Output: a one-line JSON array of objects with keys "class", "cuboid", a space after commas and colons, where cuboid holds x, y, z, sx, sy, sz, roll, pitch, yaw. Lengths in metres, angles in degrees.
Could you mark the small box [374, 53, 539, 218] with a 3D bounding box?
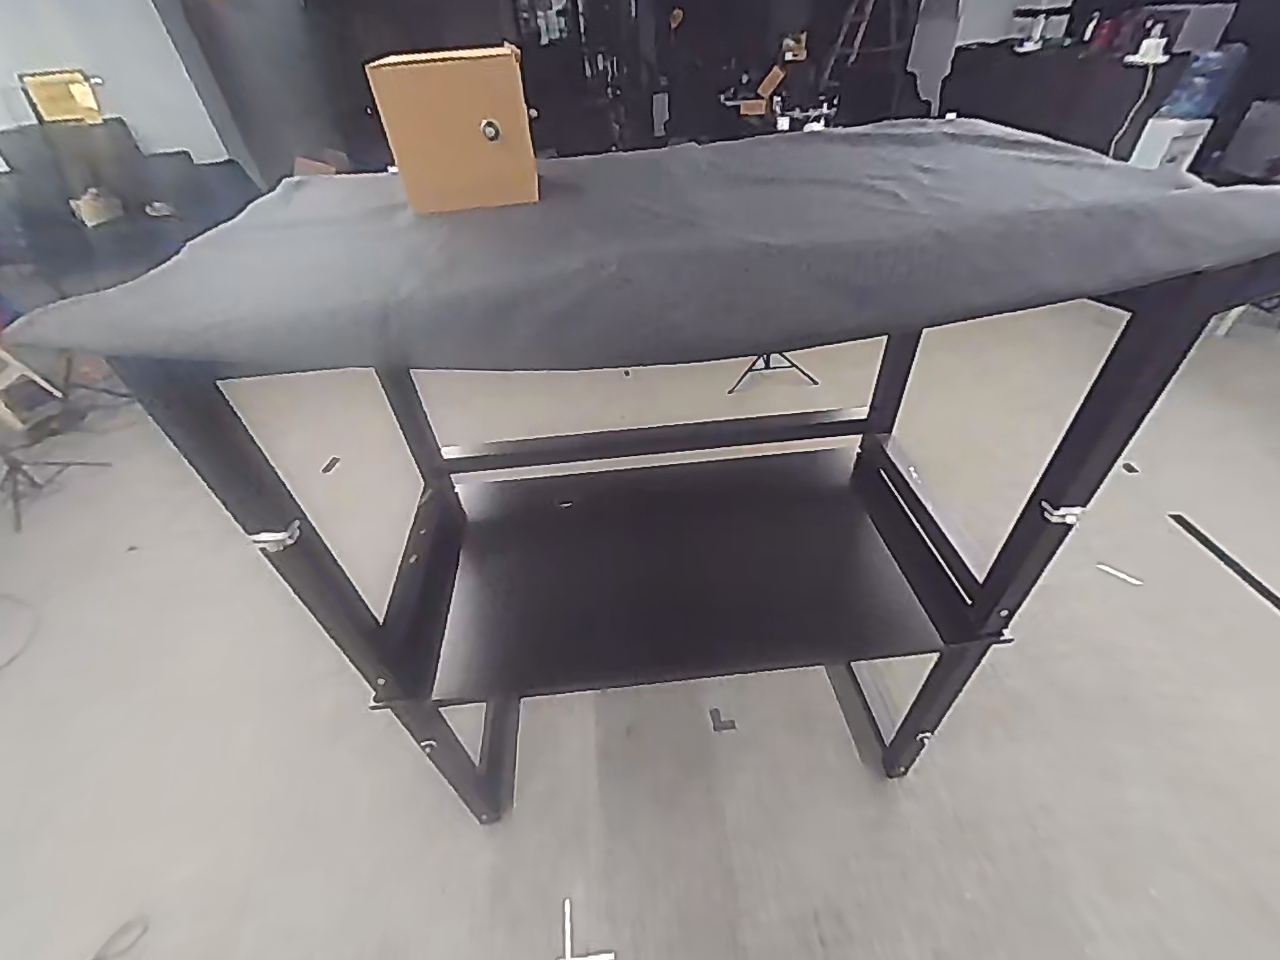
[{"class": "small box", "cuboid": [-0.239, -0.484, 0.760, 0.179, 0.176, 0.168, -7, 41, -4]}]
